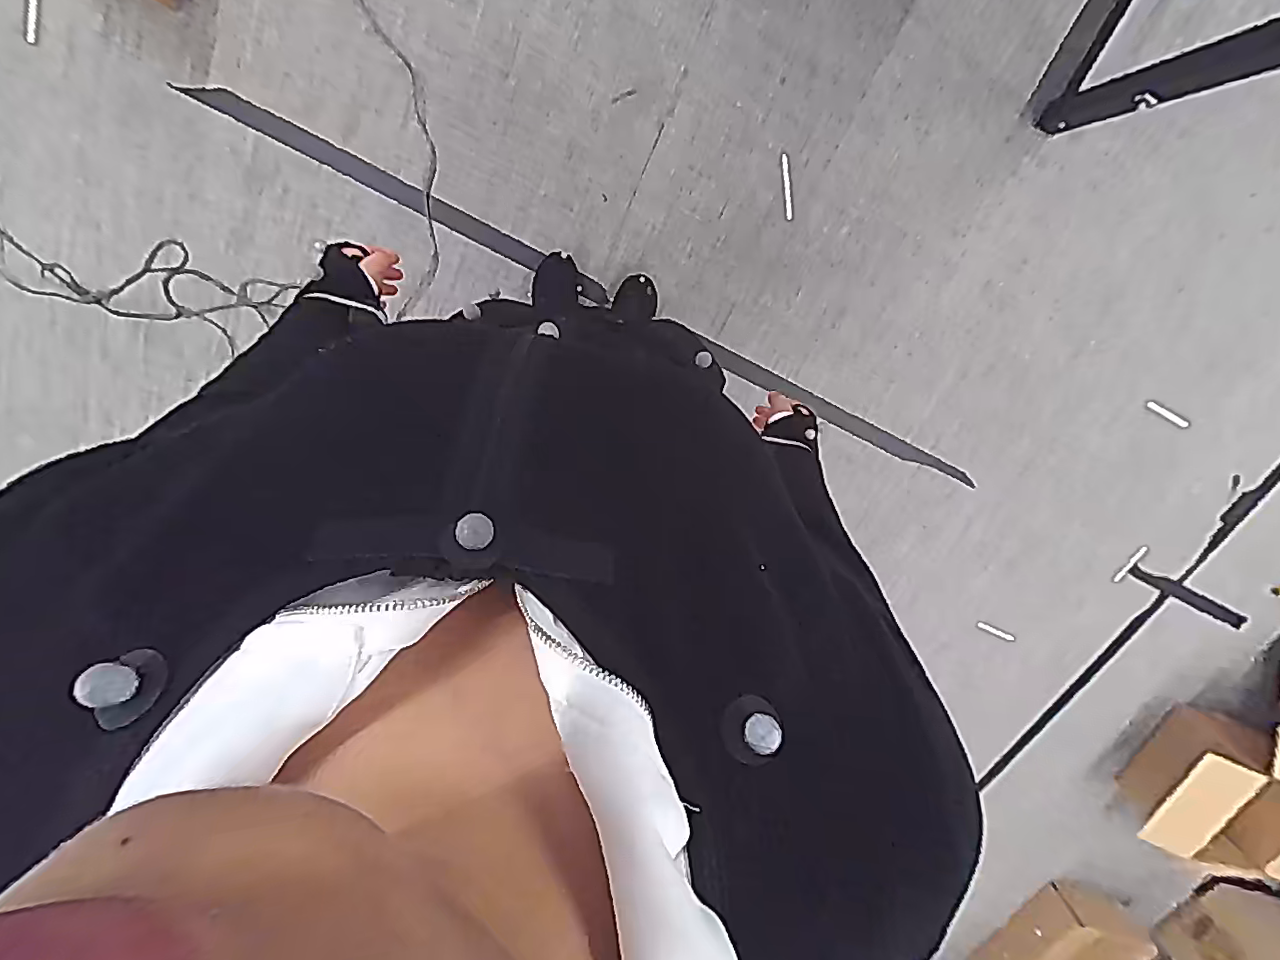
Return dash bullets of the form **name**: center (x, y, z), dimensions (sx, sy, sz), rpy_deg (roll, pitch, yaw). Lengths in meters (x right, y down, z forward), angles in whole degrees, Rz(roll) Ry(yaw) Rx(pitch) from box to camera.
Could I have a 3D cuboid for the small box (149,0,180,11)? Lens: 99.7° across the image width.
- **small box**: center (-0.993, -1.041, 1.011), dimensions (0.168, 0.176, 0.179), rpy_deg (24, 110, -11)
